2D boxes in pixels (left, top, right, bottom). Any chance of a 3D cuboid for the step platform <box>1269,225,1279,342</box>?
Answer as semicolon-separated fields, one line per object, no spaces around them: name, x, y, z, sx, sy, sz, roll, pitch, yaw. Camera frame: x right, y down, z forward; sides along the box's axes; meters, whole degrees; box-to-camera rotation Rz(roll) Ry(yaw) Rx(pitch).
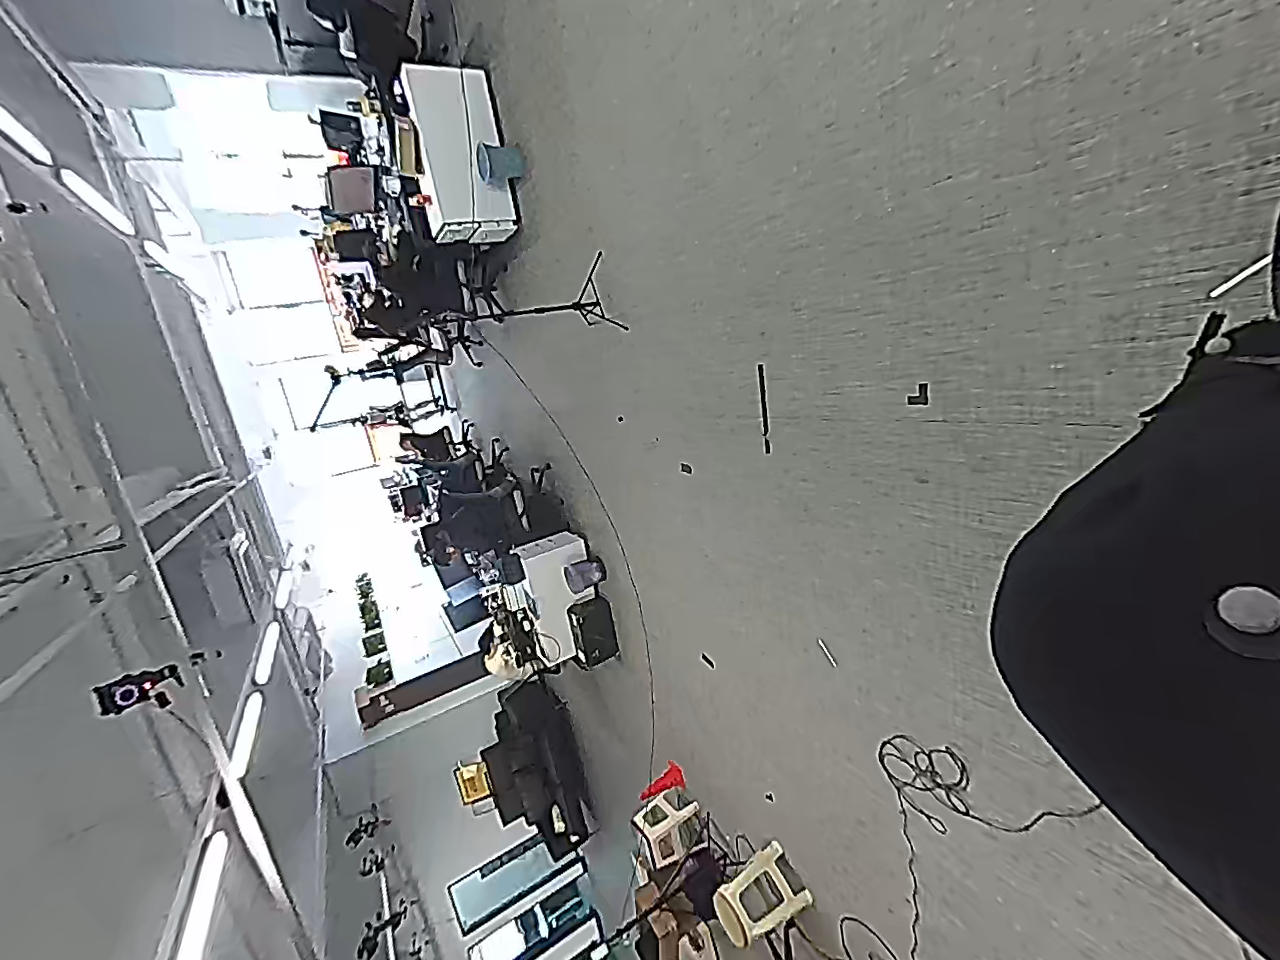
step platform;1.327;-0.347;0.691;0.684;0.204;0.286;11;116;59
